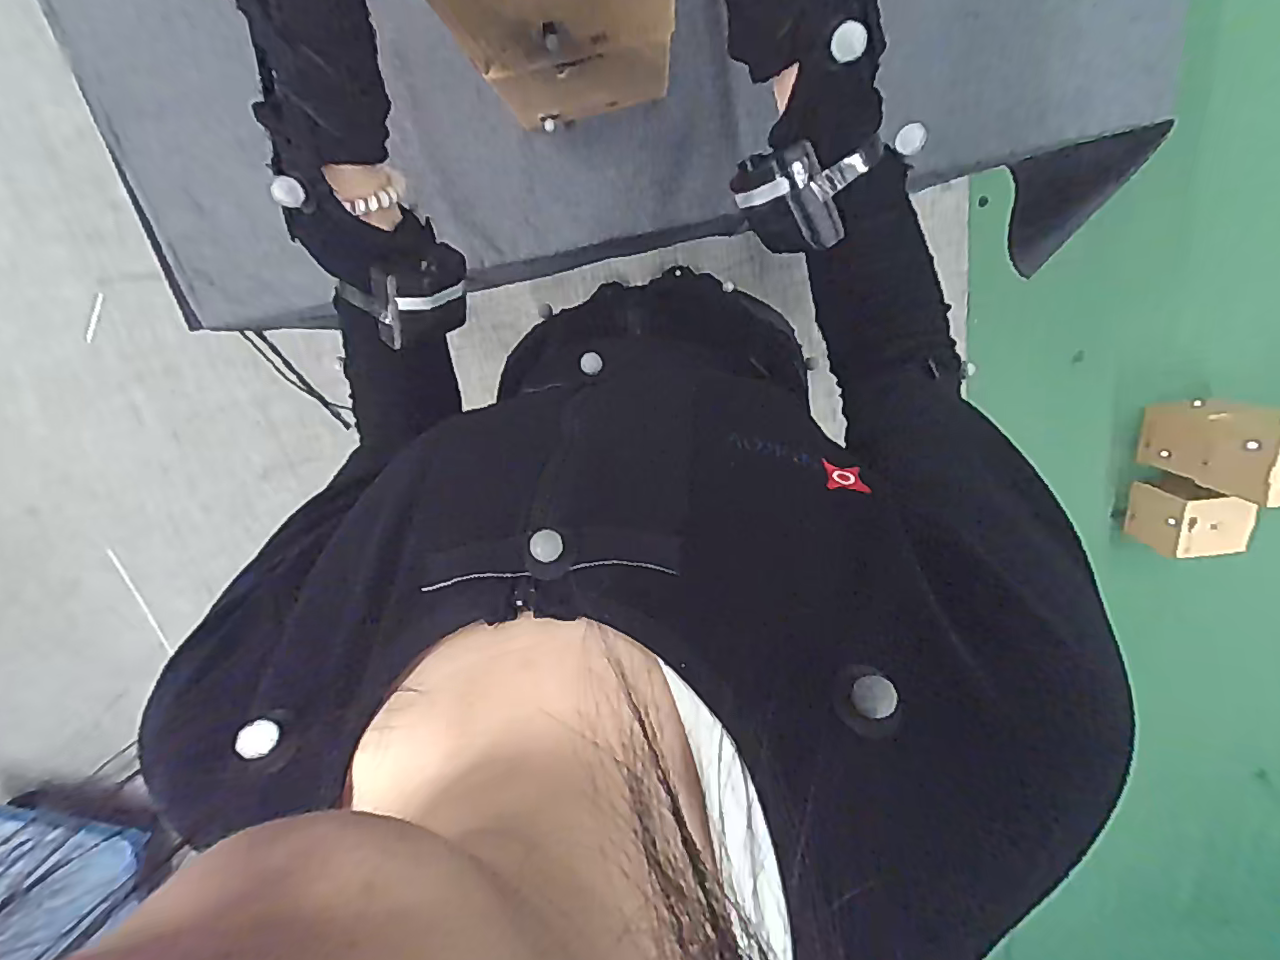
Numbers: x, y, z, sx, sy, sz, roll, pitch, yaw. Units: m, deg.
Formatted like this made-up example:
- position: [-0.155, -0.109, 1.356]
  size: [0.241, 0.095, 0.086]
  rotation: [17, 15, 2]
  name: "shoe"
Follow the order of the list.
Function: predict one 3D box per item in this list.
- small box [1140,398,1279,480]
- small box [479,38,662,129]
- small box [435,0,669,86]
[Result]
- position: [1.442, -0.108, 1.381]
  size: [0.179, 0.176, 0.168]
  rotation: [-6, 109, 3]
  name: "small box"
- position: [-0.072, -0.466, 0.521]
  size: [0.168, 0.176, 0.179]
  rotation: [-11, 107, 5]
  name: "small box"
- position: [-0.074, -0.413, 0.367]
  size: [0.168, 0.176, 0.179]
  rotation: [-11, 109, 4]
  name: "small box"
